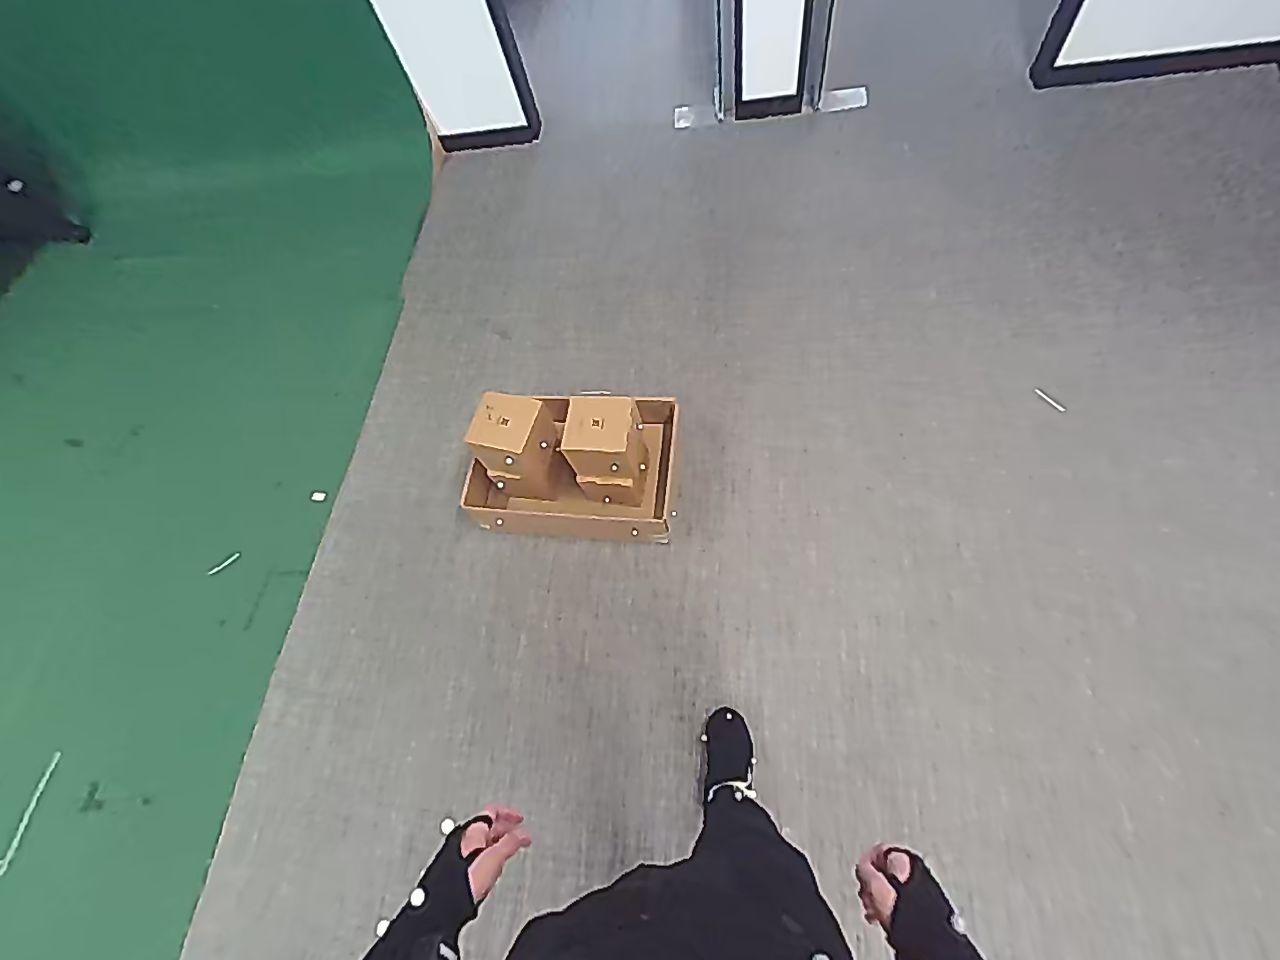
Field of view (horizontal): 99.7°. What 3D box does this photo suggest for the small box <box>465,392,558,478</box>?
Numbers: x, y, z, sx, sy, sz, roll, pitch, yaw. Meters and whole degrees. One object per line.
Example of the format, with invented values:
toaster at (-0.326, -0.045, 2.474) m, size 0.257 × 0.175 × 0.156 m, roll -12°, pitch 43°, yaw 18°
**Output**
small box at (-0.350, -0.120, 1.518) m, size 0.179 × 0.176 × 0.168 m, roll 12°, pitch 67°, yaw 14°
